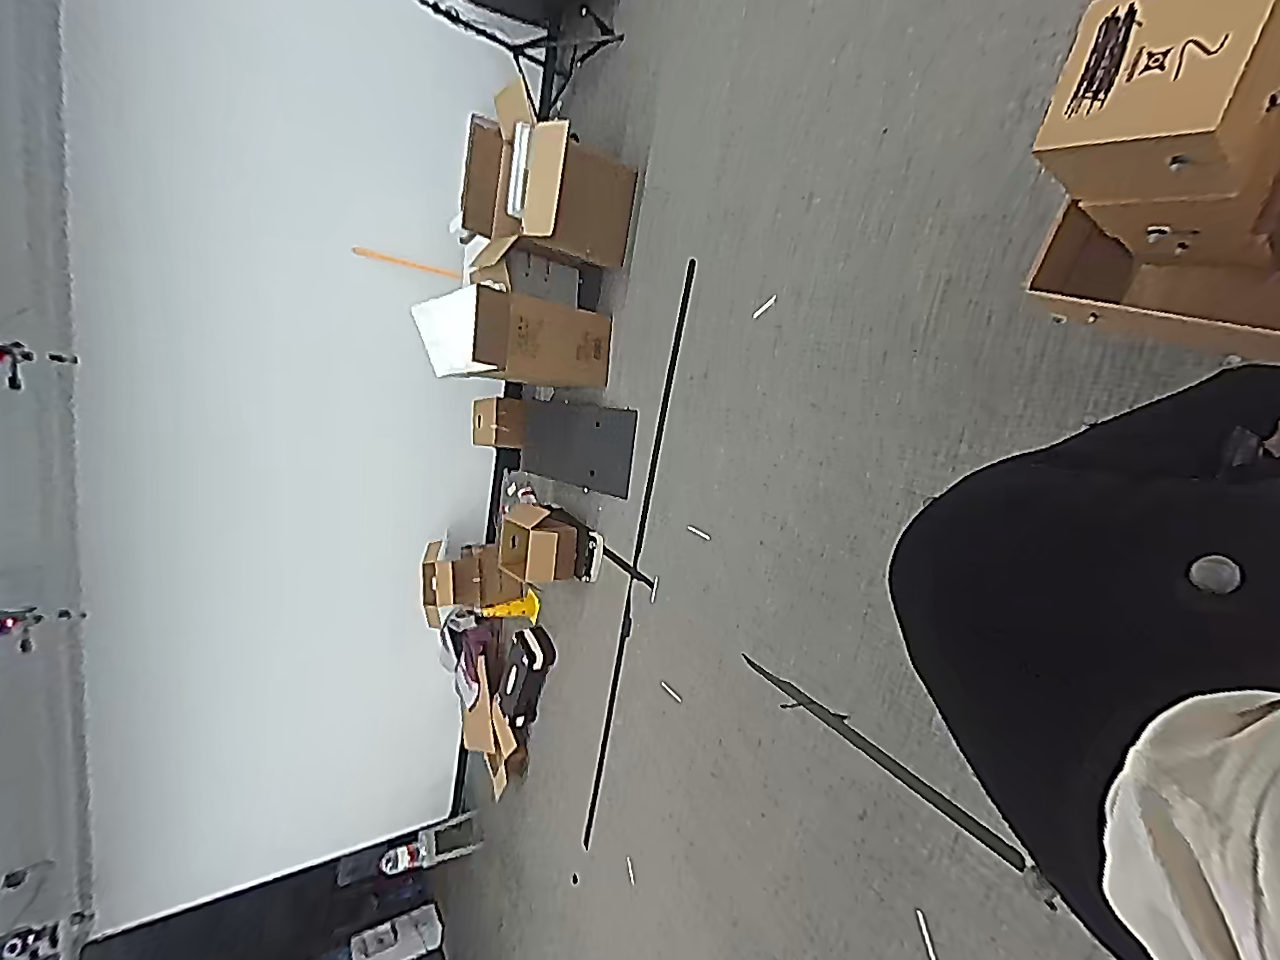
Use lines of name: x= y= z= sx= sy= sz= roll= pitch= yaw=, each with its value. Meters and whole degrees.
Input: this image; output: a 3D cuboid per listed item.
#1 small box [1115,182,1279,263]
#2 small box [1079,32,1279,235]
small box: x=0.888 y=-0.440 z=0.823 sx=0.179 sy=0.176 sz=0.168 roll=34 pitch=116 yaw=48
small box: x=0.751 y=-0.449 z=0.732 sx=0.168 sy=0.176 sz=0.179 roll=33 pitch=114 yaw=52
